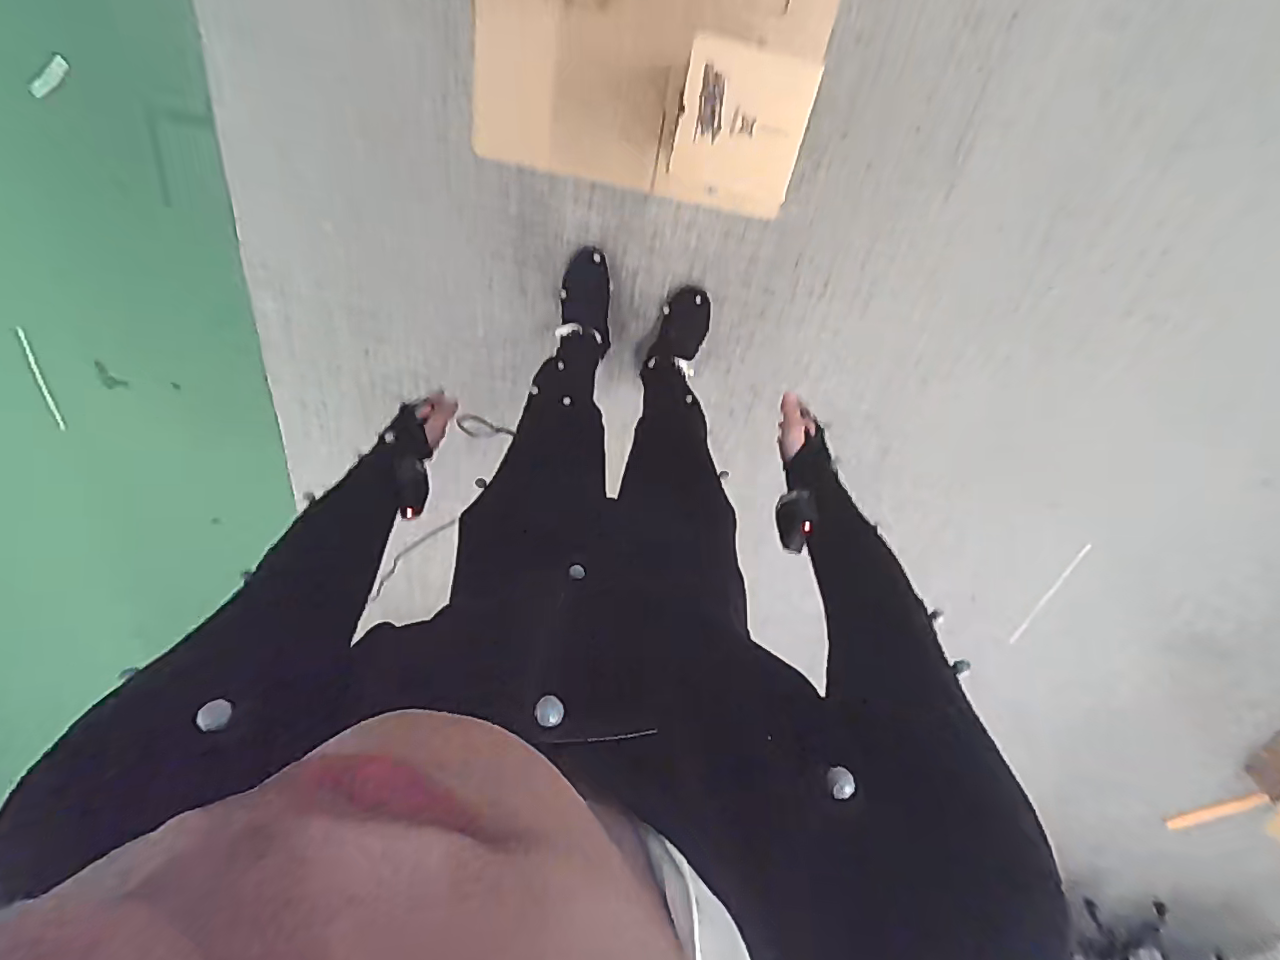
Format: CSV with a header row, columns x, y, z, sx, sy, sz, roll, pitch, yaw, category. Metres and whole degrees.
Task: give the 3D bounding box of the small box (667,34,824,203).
x,y,z,sx,sy,sz,roll,pitch,yaw,category
0.142,-0.526,0.801,0.179,0.176,0.168,11,123,-4,small box
